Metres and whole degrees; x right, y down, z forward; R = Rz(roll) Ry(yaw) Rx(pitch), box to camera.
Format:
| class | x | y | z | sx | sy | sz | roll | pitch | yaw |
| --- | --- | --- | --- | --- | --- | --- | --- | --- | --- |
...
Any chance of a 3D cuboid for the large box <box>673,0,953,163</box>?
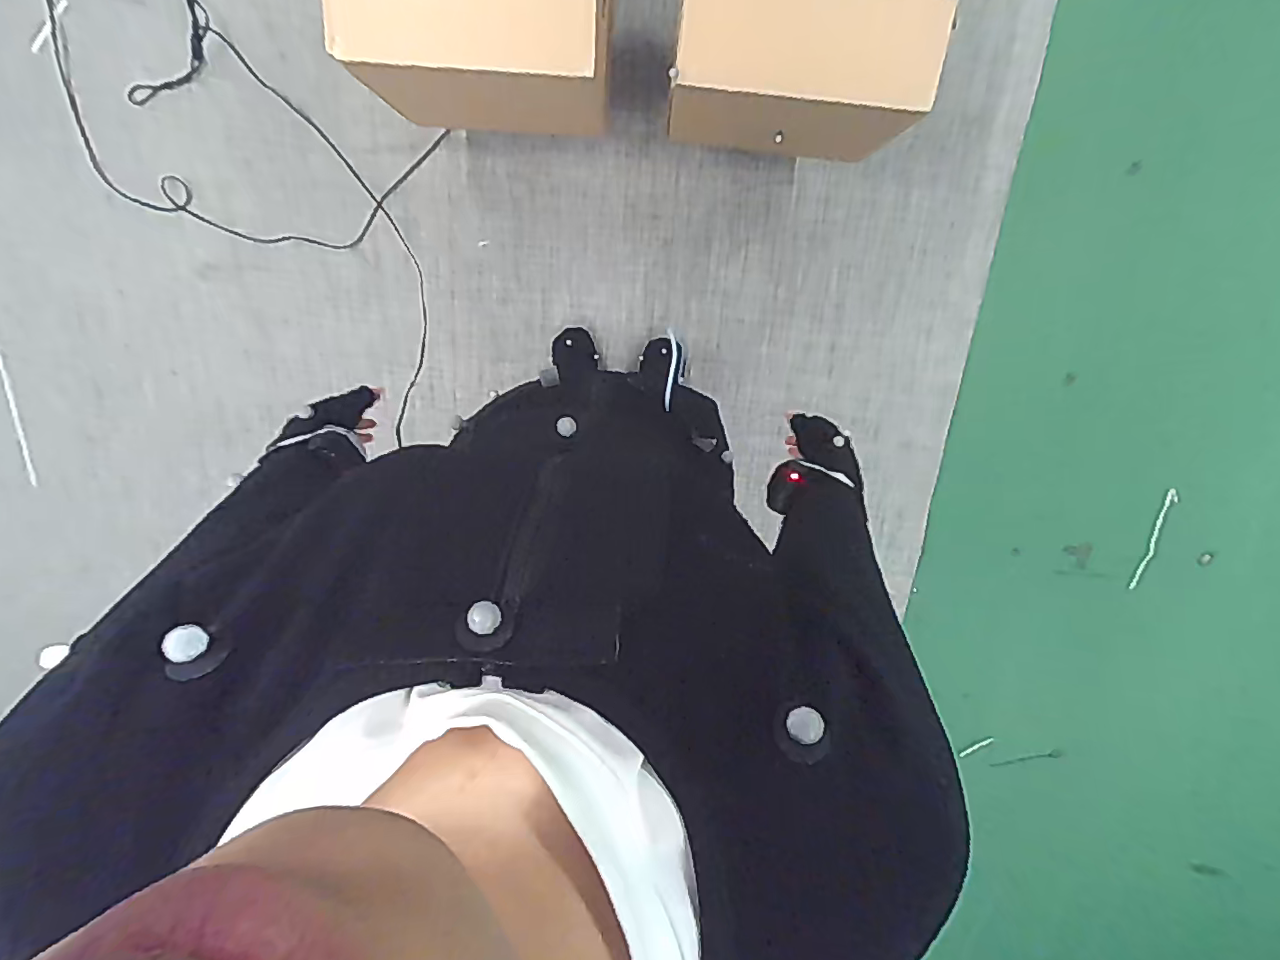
| class | x | y | z | sx | sy | sz | roll | pitch | yaw |
| --- | --- | --- | --- | --- | --- | --- | --- | --- | --- |
| large box | 0.279 | -0.782 | 0.953 | 0.408 | 0.320 | 0.320 | 6 | 107 | -1 |
